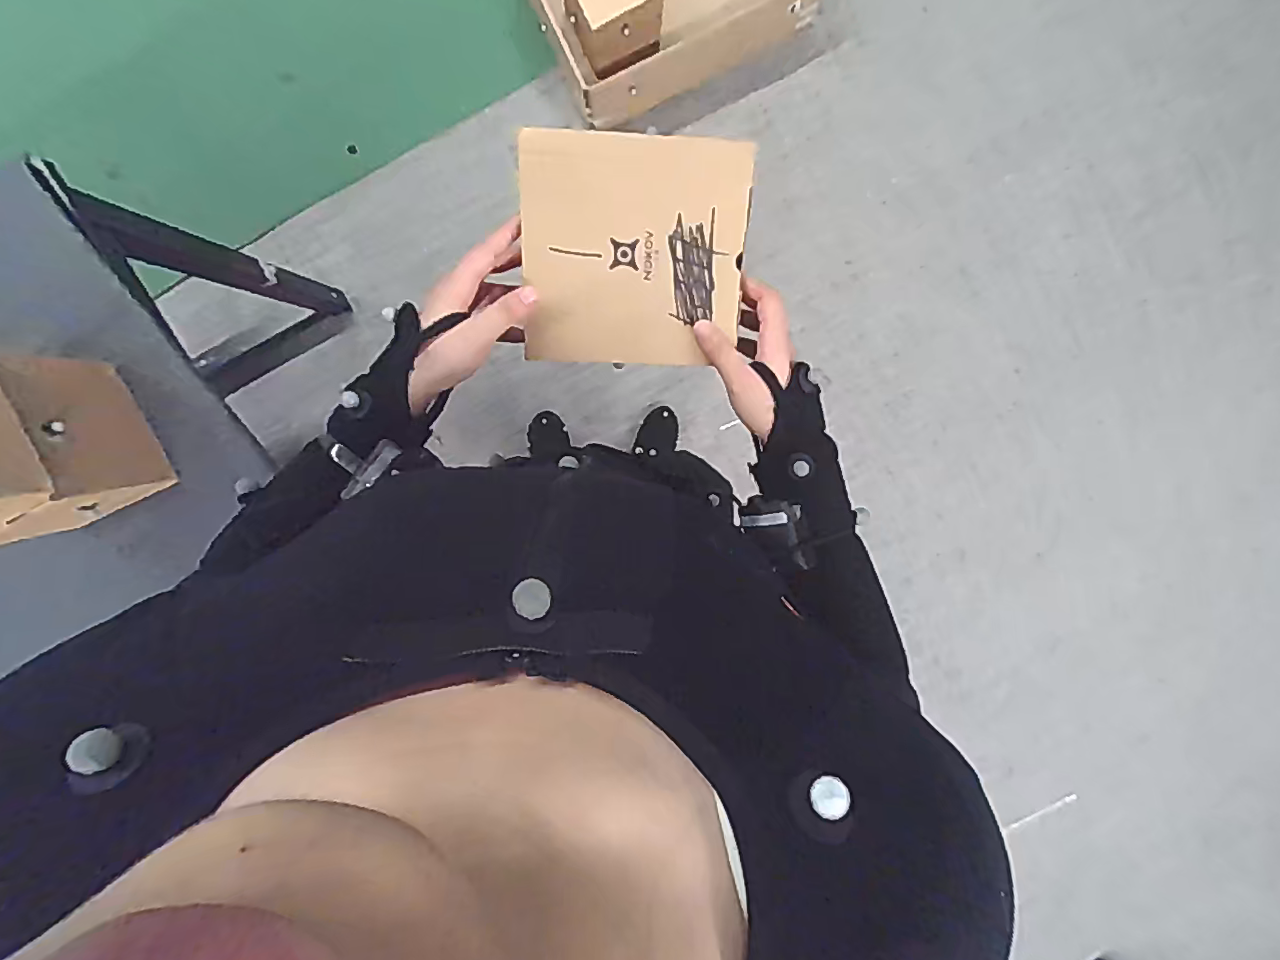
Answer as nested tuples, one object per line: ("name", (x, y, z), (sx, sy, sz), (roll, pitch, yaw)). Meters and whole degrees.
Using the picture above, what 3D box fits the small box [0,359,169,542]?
("small box", (-0.723, -0.034, 0.634), (0.168, 0.176, 0.179), (-24, 97, 2))

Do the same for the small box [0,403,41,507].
("small box", (-0.710, -0.028, 0.469), (0.168, 0.176, 0.179), (-21, 99, 2))

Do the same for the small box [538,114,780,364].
("small box", (0.005, -0.203, 0.481), (0.179, 0.176, 0.168), (1, 111, -5))

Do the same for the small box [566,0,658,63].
("small box", (-0.065, -1.070, 1.183), (0.179, 0.176, 0.168), (-27, 100, 1))
